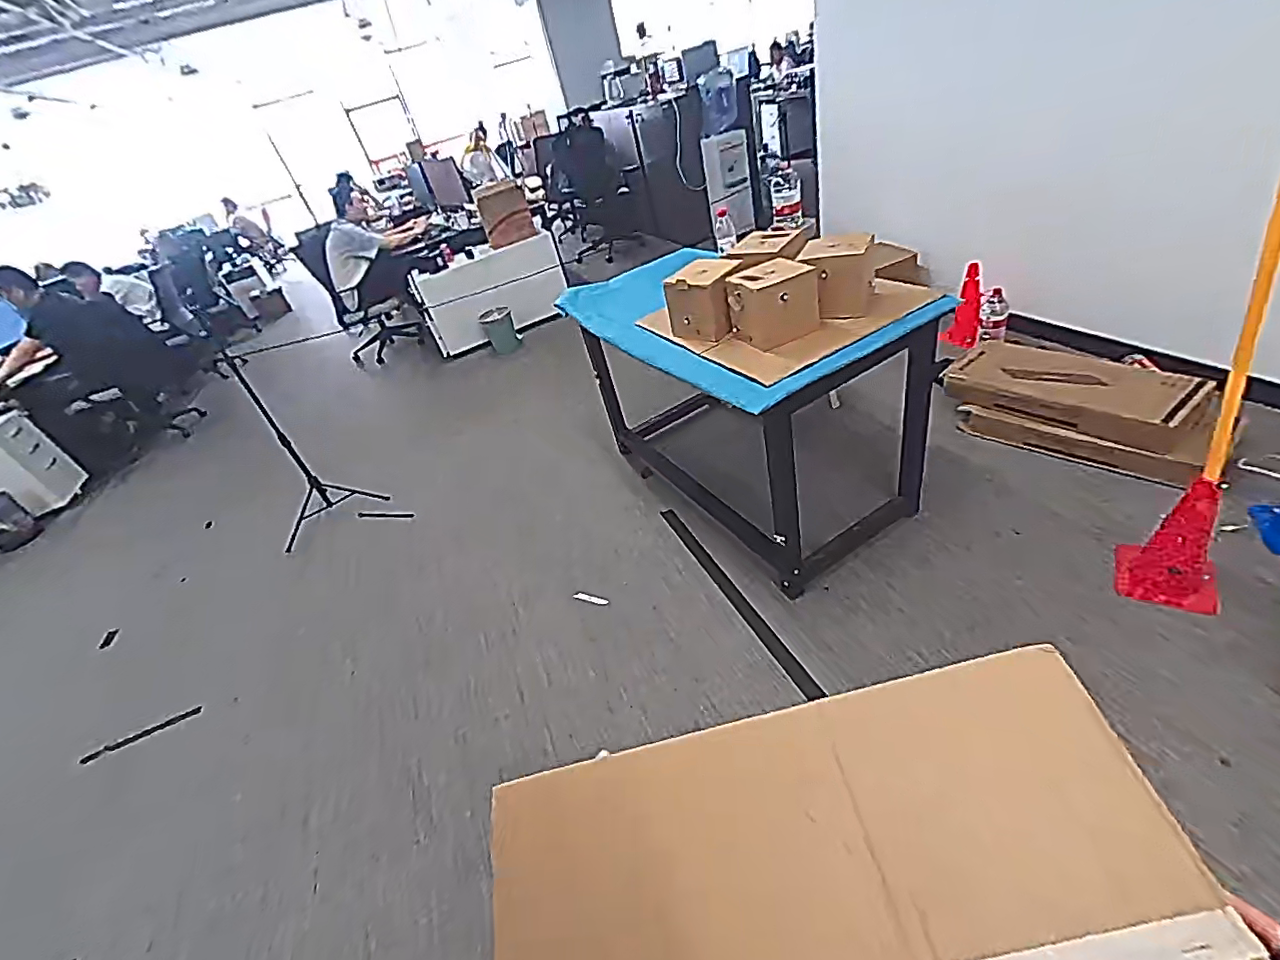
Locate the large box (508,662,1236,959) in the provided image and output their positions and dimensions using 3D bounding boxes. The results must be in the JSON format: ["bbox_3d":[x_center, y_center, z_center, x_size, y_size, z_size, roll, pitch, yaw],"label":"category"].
[{"bbox_3d":[0.152,0.387,0.413,0.408,0.320,0.320,-17,53,3],"label":"large box"}]
